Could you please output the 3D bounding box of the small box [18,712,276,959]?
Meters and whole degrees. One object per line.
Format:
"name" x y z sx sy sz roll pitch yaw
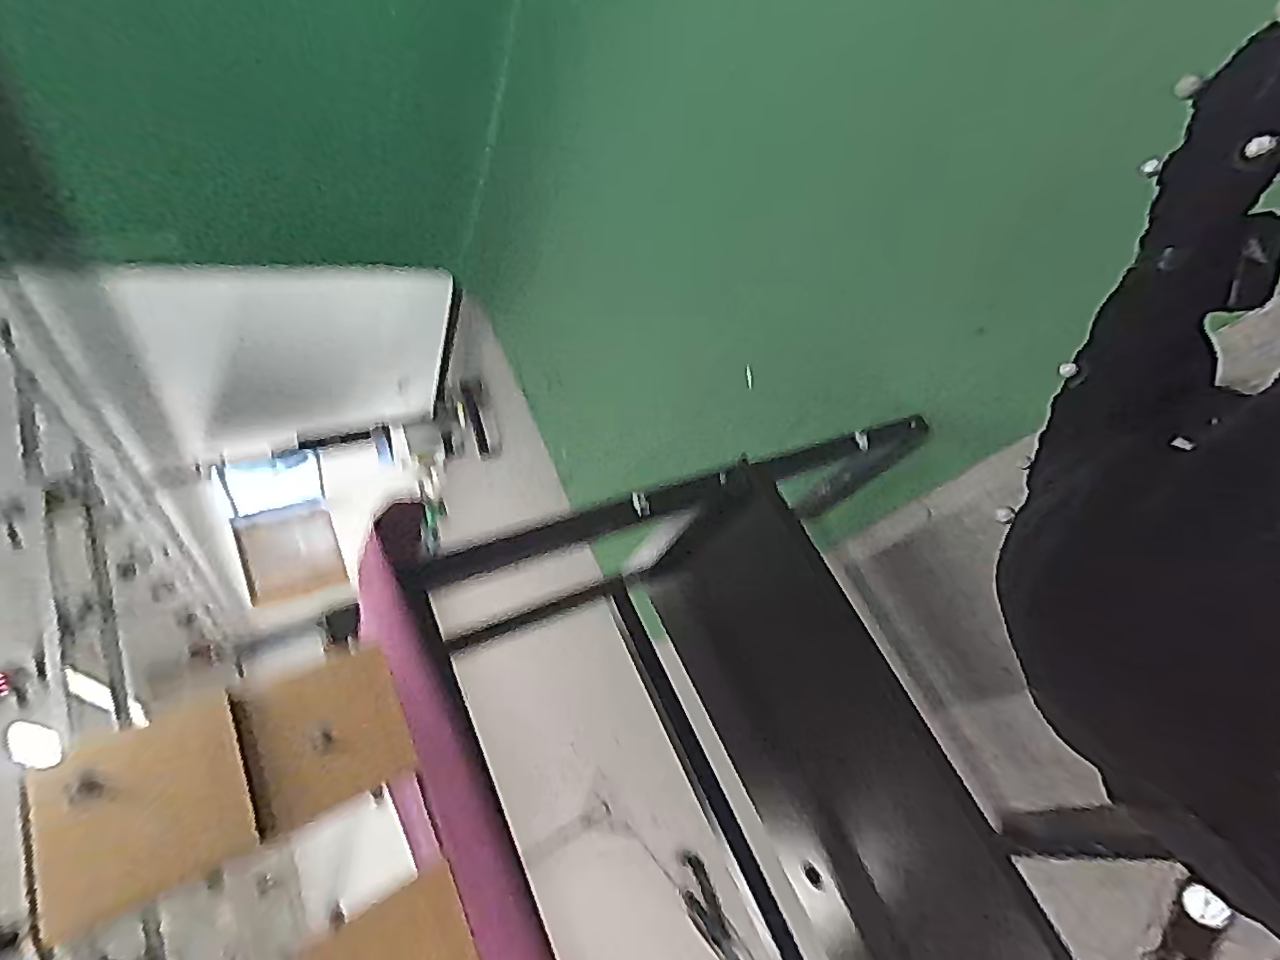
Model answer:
"small box" -0.523 0.379 0.598 0.179 0.176 0.168 60 144 19

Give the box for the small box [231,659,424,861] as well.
"small box" -0.400 0.353 0.705 0.179 0.176 0.168 60 144 18
